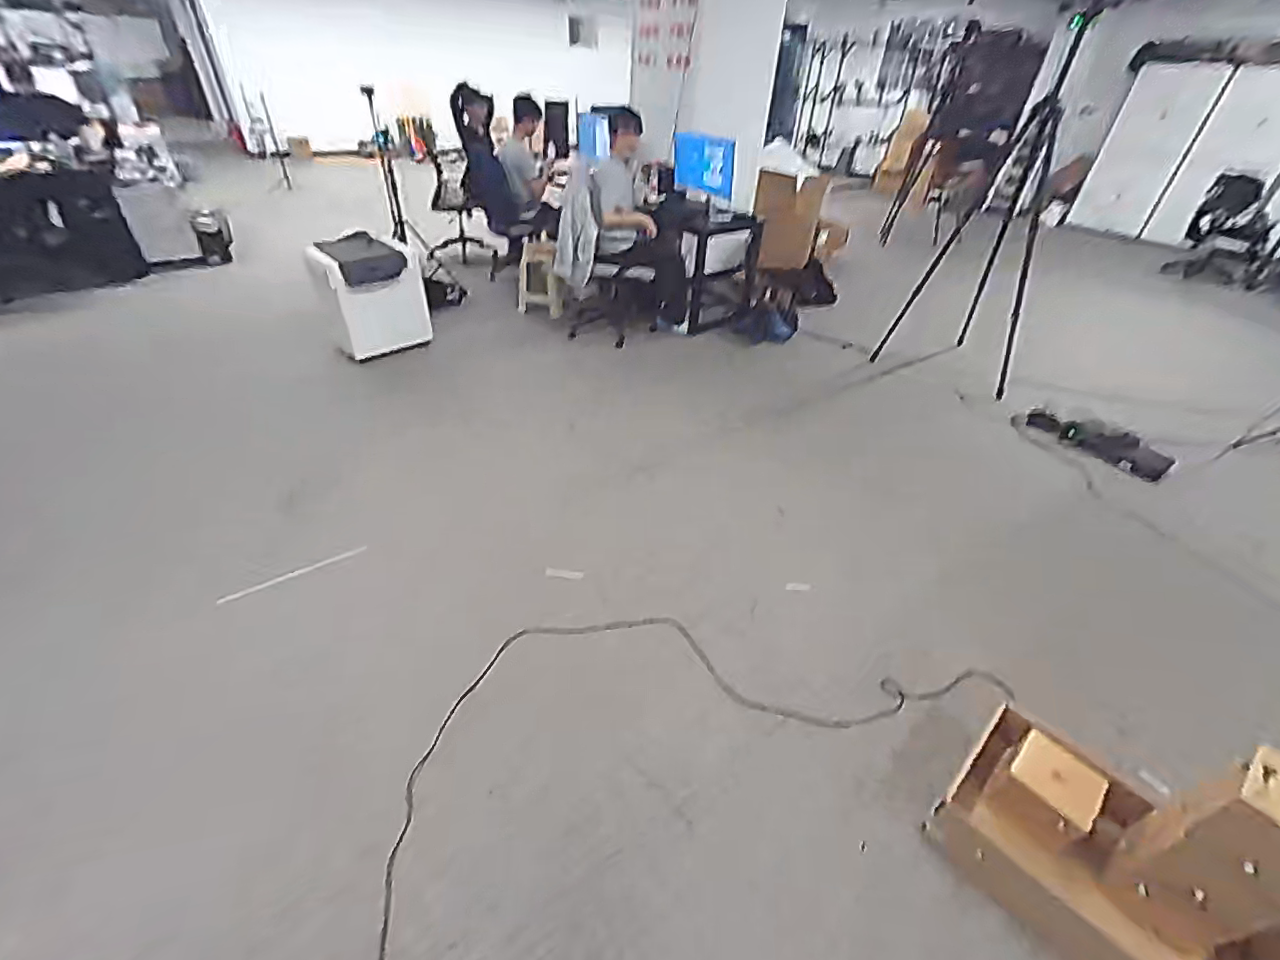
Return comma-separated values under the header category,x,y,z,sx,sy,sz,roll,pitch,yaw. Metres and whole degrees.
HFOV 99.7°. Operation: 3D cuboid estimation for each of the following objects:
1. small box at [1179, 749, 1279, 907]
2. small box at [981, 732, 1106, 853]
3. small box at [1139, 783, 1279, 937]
category,x,y,z,sx,sy,sz,roll,pitch,yaw
small box,1.182,0.653,1.005,0.168,0.176,0.179,-22,44,-29
small box,1.003,0.785,1.359,0.168,0.176,0.179,-28,50,-32
small box,1.186,0.779,1.113,0.179,0.176,0.168,-26,46,-32
